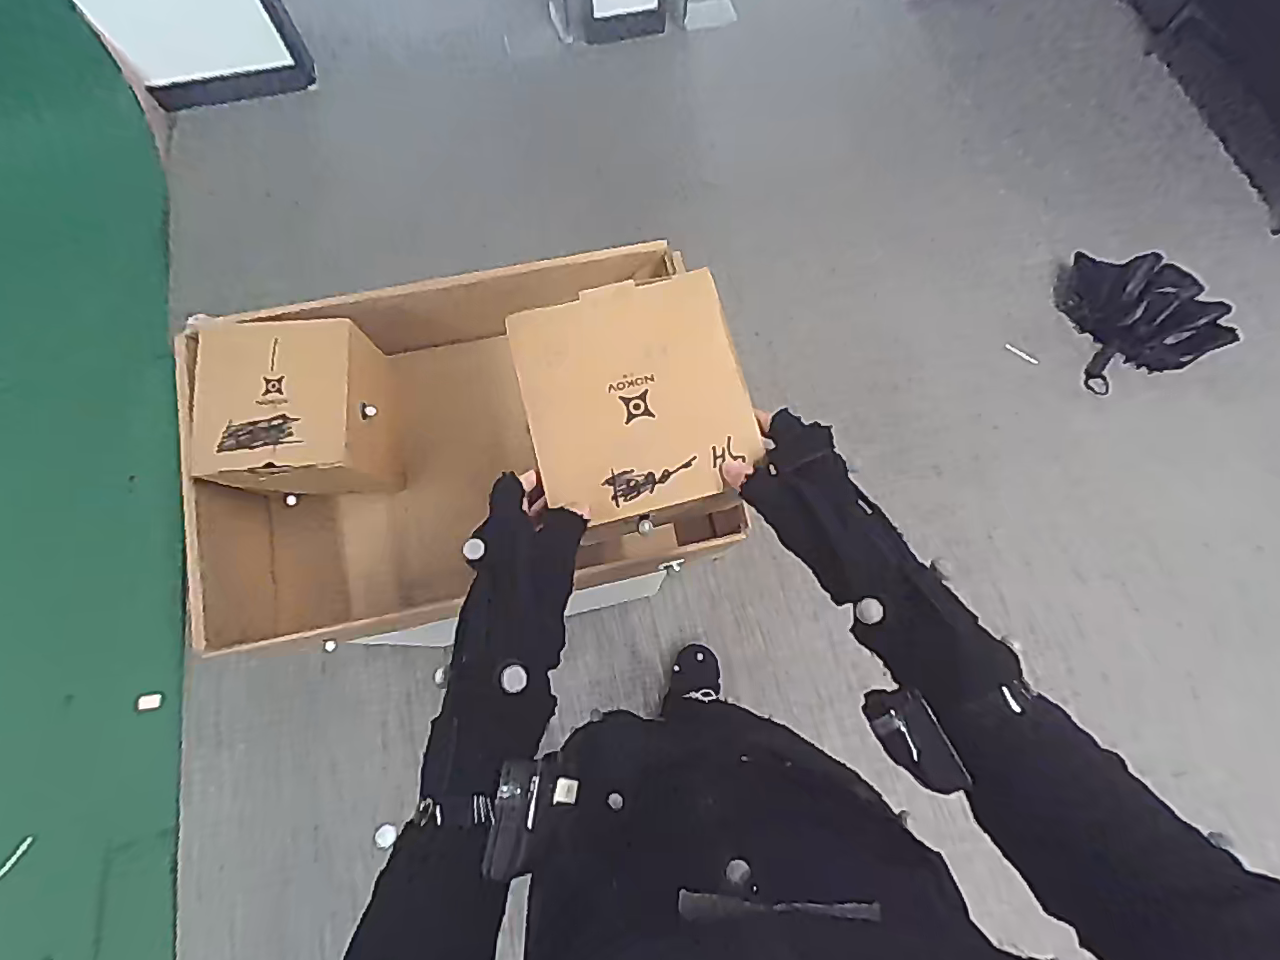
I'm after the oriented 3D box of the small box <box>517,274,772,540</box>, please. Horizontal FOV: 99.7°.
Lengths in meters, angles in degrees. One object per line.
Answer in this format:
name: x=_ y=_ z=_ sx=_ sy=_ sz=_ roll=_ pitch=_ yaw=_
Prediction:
small box: x=0.001 y=-0.051 z=0.494 sx=0.168 sy=0.176 sz=0.179 roll=-15 pitch=81 yaw=-1
